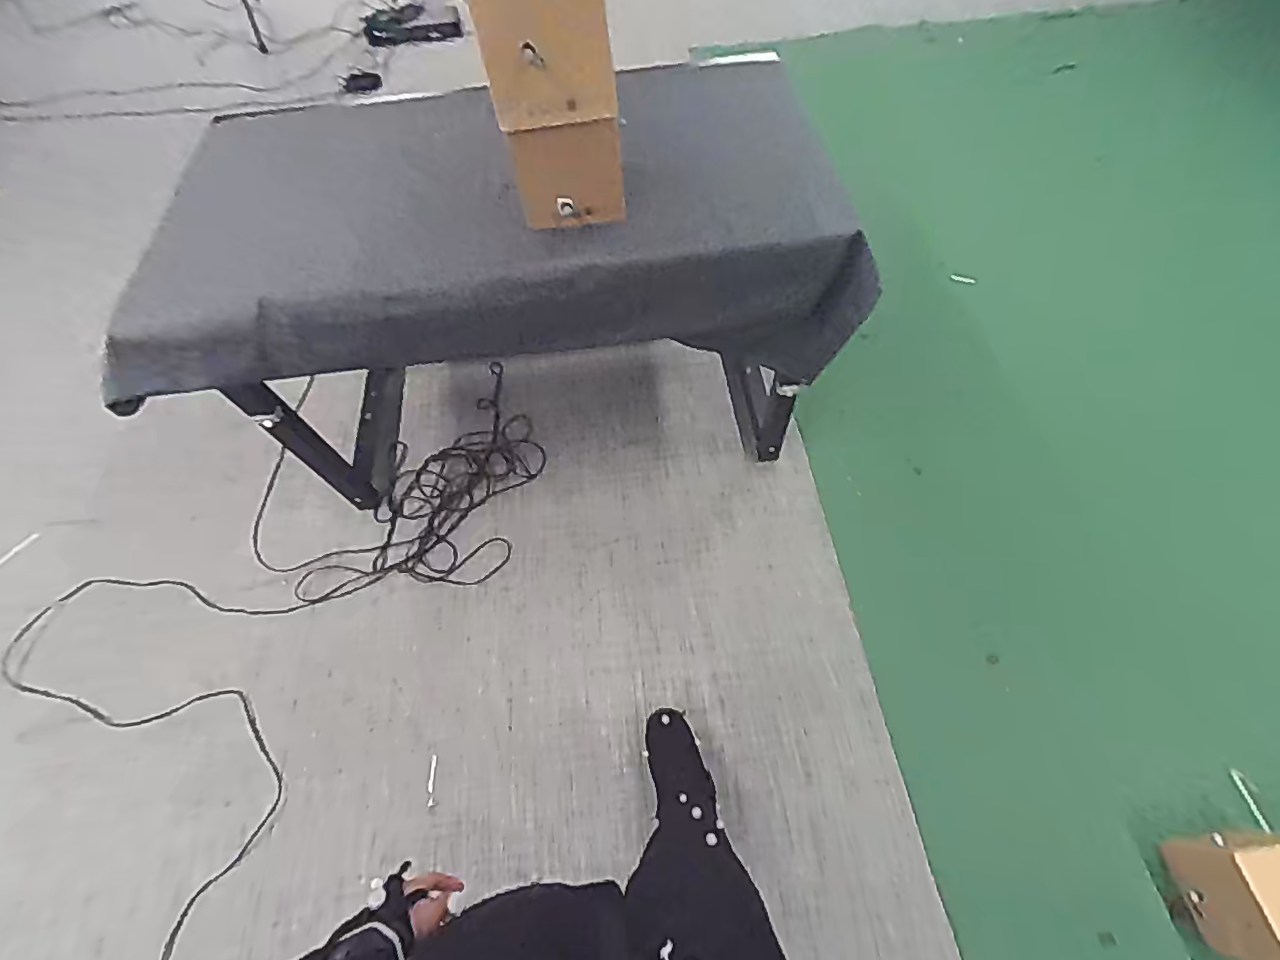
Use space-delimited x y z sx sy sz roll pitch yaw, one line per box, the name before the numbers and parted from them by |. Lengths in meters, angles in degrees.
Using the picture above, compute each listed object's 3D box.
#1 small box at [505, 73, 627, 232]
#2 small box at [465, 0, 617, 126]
small box | -0.113 -0.536 0.880 0.168 0.176 0.179 -7 61 1
small box | -0.127 -0.609 0.735 0.168 0.176 0.179 -8 59 1
